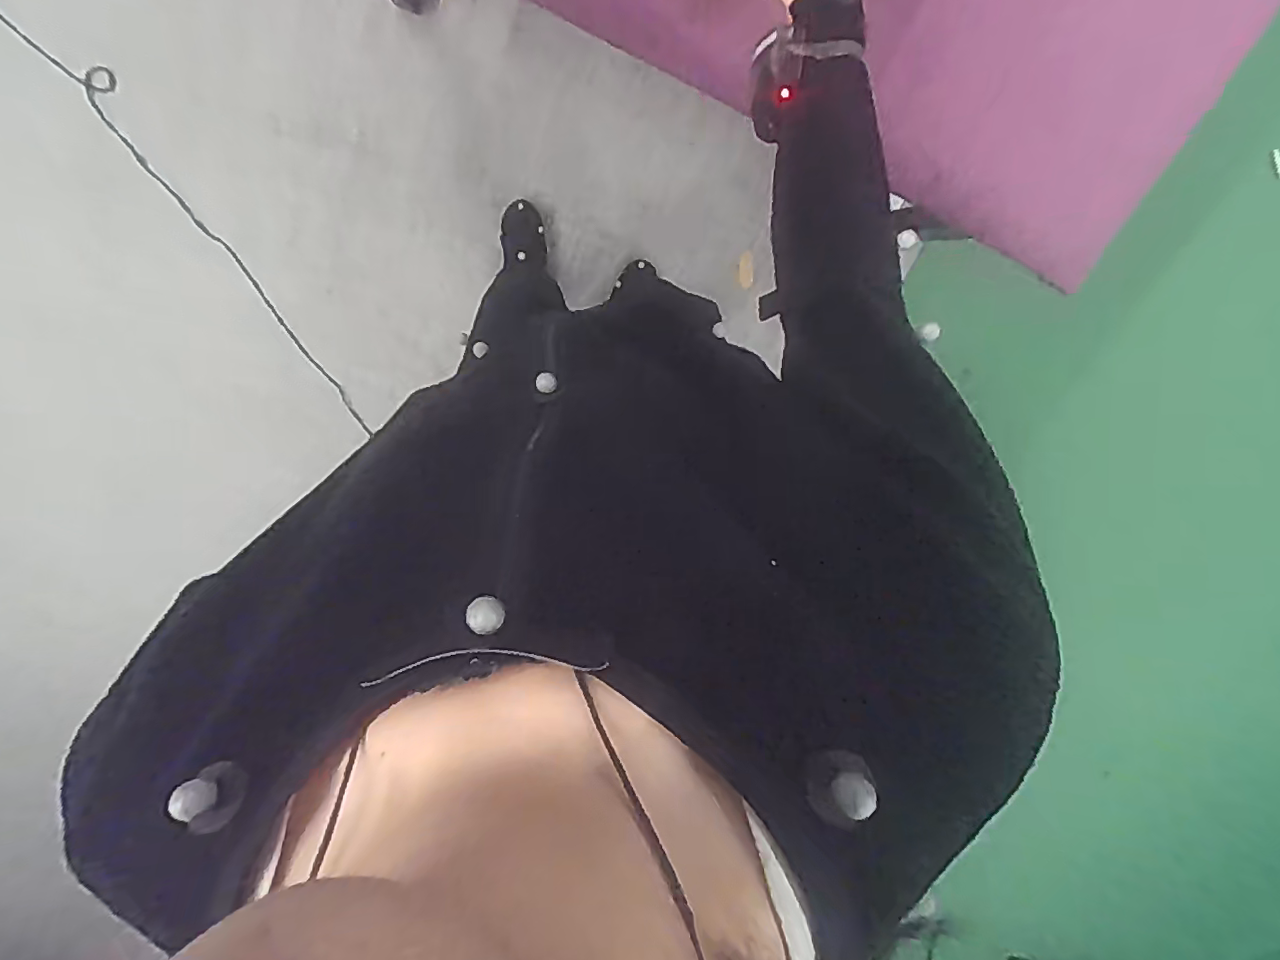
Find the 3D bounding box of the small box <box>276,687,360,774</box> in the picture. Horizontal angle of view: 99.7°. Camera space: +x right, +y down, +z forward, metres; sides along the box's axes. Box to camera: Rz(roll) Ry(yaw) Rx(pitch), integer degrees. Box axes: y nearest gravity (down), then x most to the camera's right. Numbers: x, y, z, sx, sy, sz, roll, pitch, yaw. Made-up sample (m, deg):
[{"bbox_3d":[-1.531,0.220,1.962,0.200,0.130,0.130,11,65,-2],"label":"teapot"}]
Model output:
[{"bbox_3d":[-1.068,0.833,1.810,0.168,0.176,0.179,27,111,-10],"label":"small box"}]
